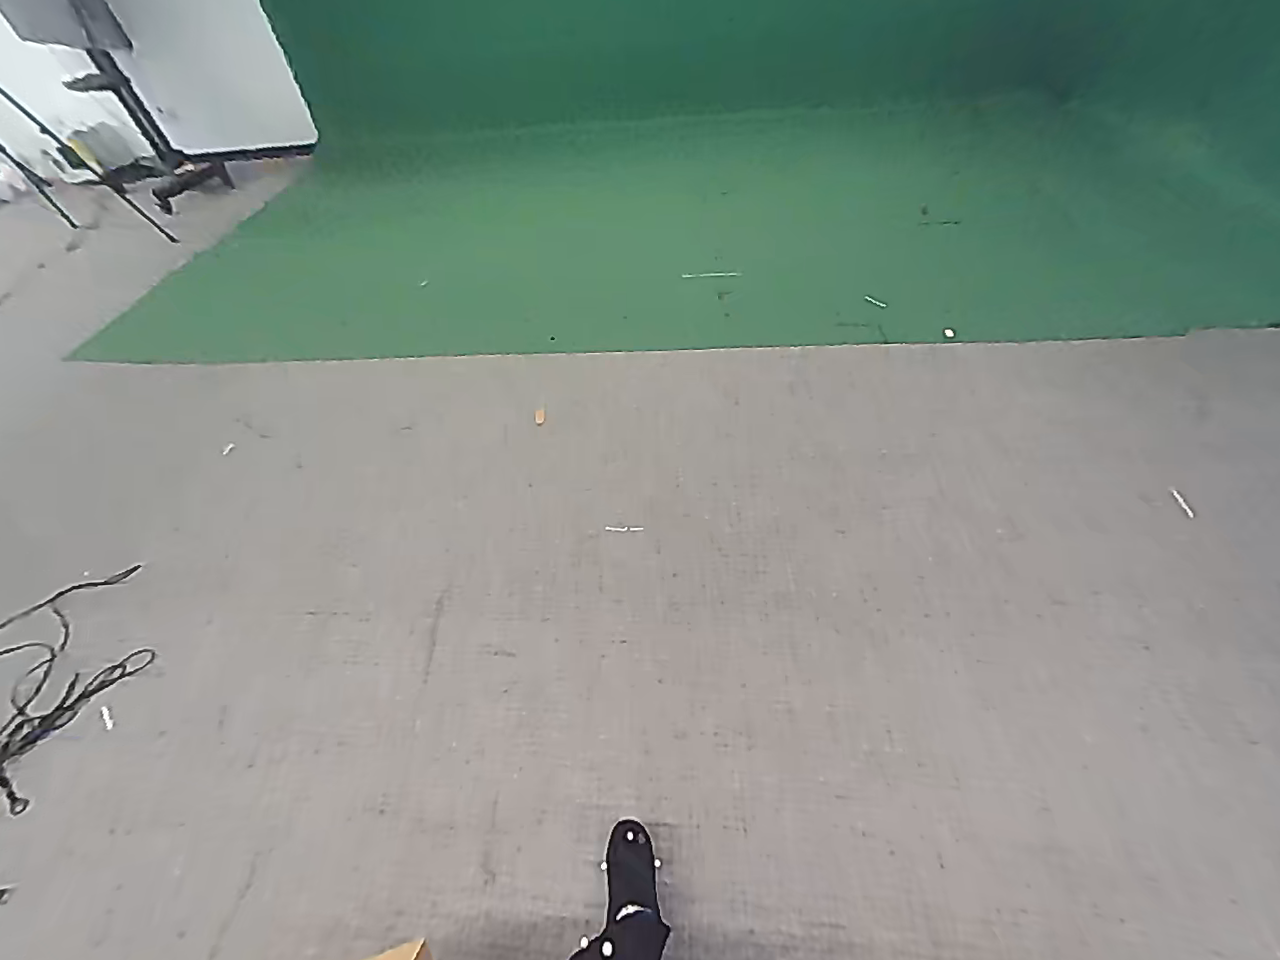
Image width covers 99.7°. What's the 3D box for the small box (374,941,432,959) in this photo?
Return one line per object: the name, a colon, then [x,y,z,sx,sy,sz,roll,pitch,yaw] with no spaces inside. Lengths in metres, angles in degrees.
small box: [-0.332,0.695,0.613,0.168,0.179,0.176,-17,82,-6]
